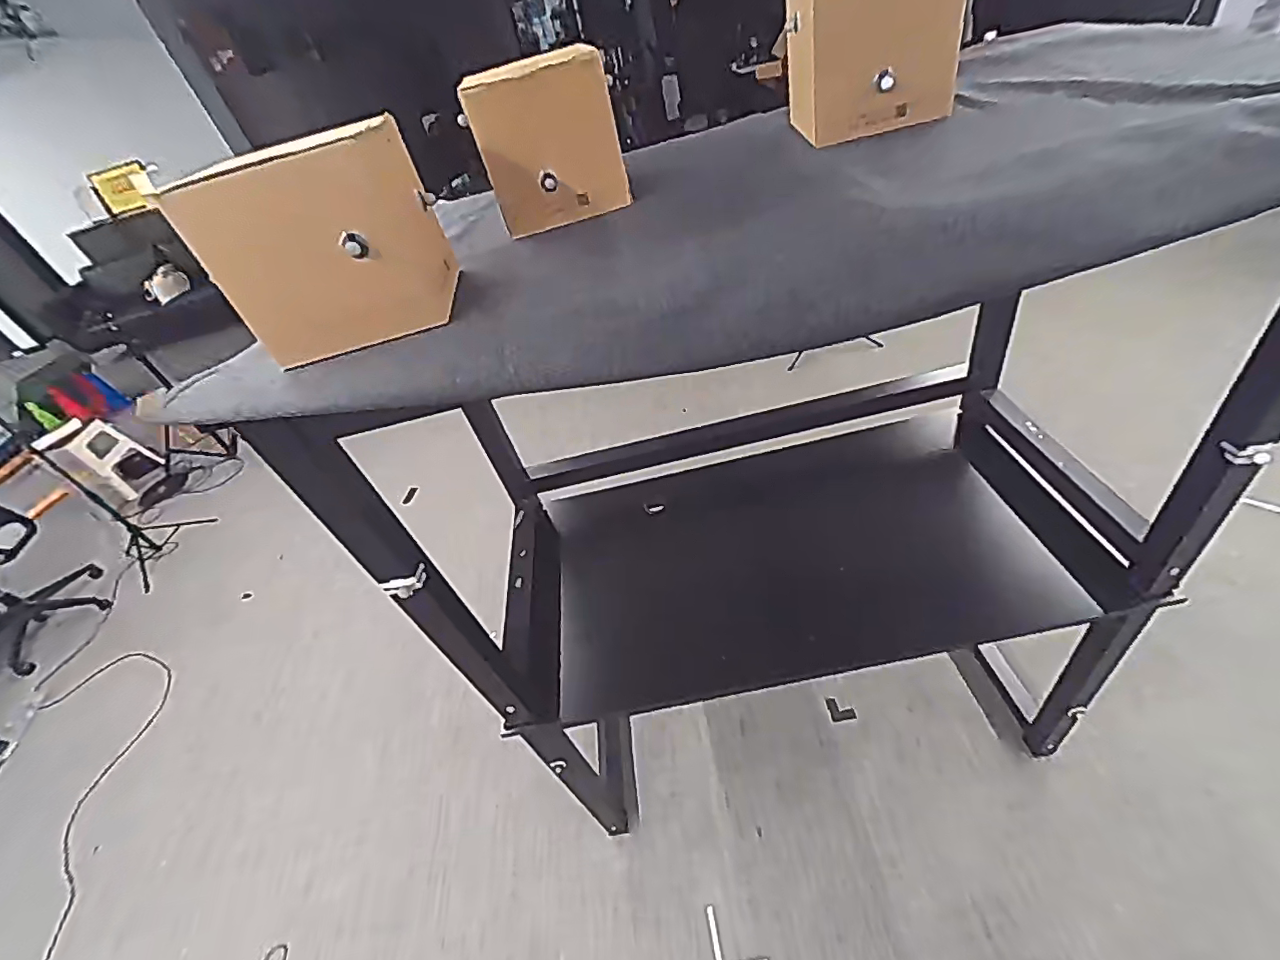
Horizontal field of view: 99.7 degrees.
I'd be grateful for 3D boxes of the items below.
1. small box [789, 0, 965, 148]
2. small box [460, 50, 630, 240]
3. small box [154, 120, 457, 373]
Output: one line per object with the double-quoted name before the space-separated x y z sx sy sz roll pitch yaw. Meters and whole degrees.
"small box" 0.288 -0.550 0.693 0.168 0.176 0.179 -9 42 9
"small box" -0.120 -0.439 0.712 0.168 0.176 0.179 -17 42 0
"small box" -0.301 -0.233 0.541 0.179 0.176 0.168 -16 40 0
